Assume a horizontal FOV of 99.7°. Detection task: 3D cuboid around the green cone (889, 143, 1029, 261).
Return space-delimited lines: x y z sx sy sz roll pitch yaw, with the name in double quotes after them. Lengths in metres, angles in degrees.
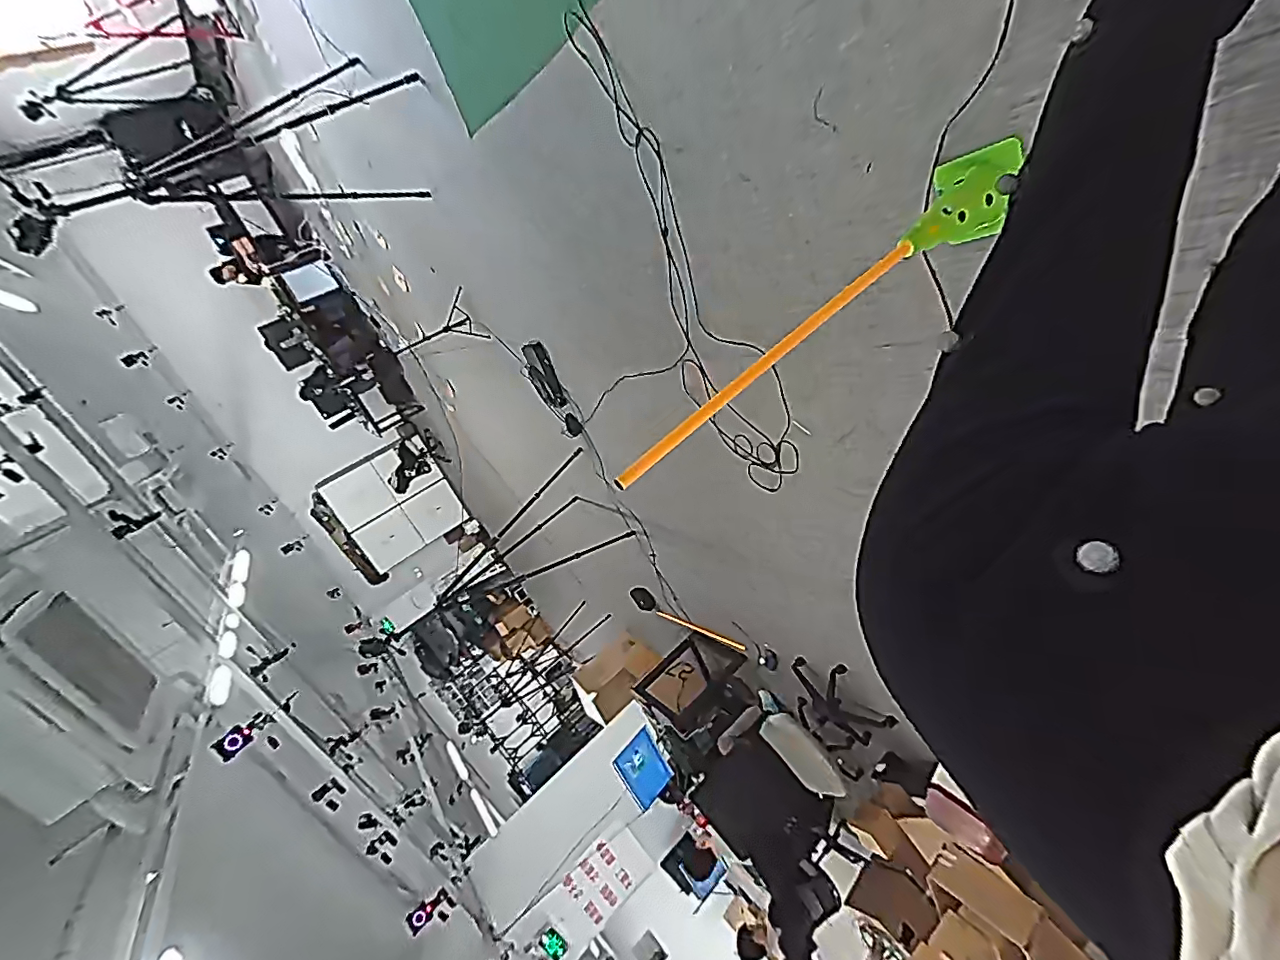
0.709 -0.606 1.269 0.202 0.368 0.200 11 132 59 "green cone"
